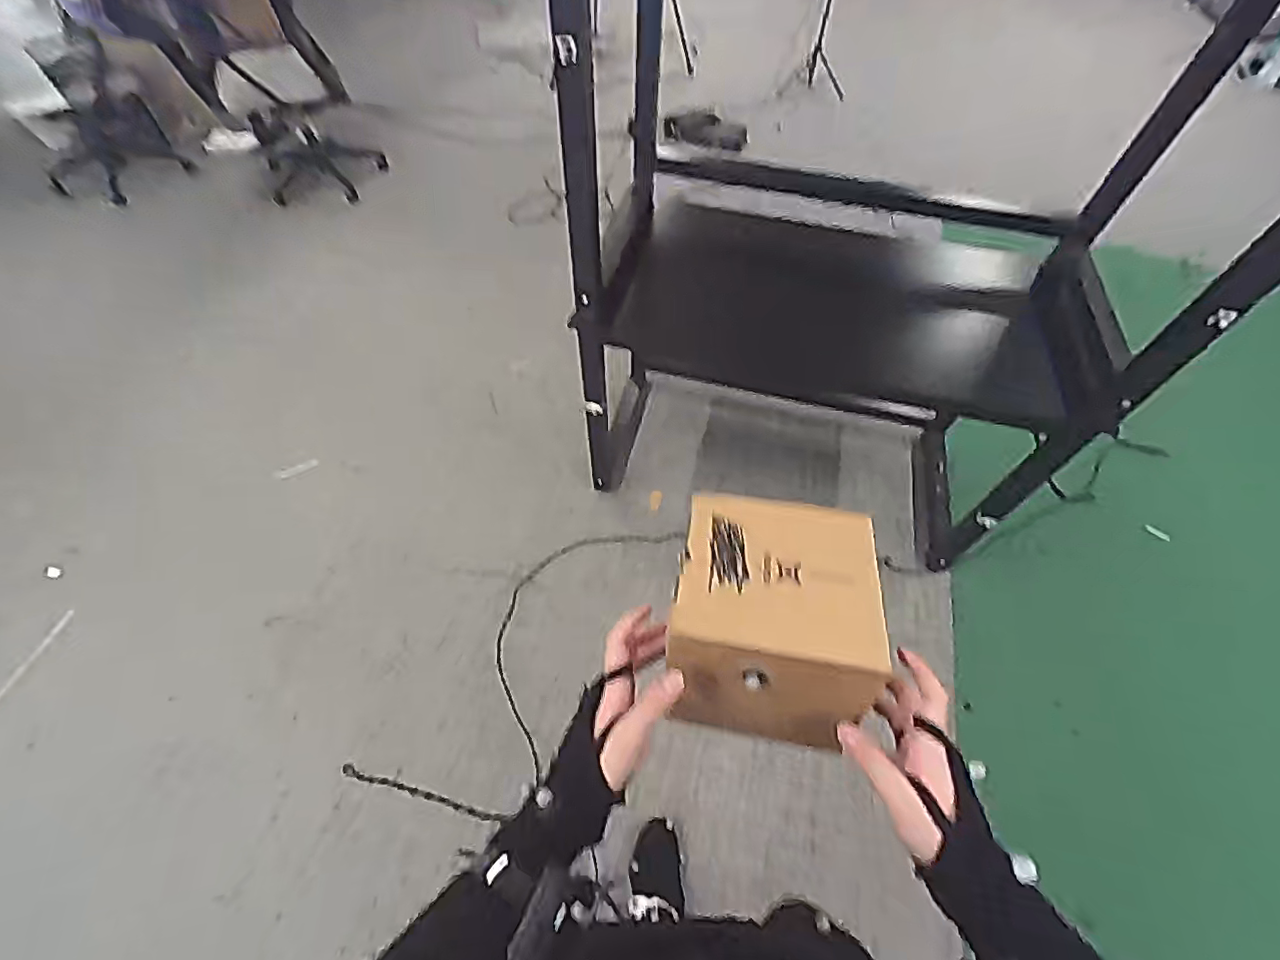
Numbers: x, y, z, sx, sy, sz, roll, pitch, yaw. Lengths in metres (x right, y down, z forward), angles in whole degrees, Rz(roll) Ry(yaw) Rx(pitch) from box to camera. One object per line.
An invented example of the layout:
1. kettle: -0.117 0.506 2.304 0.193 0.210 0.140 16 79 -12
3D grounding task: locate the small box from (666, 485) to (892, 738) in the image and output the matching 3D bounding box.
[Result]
1. small box: 0.124 0.128 0.529 0.179 0.176 0.168 8 45 9
